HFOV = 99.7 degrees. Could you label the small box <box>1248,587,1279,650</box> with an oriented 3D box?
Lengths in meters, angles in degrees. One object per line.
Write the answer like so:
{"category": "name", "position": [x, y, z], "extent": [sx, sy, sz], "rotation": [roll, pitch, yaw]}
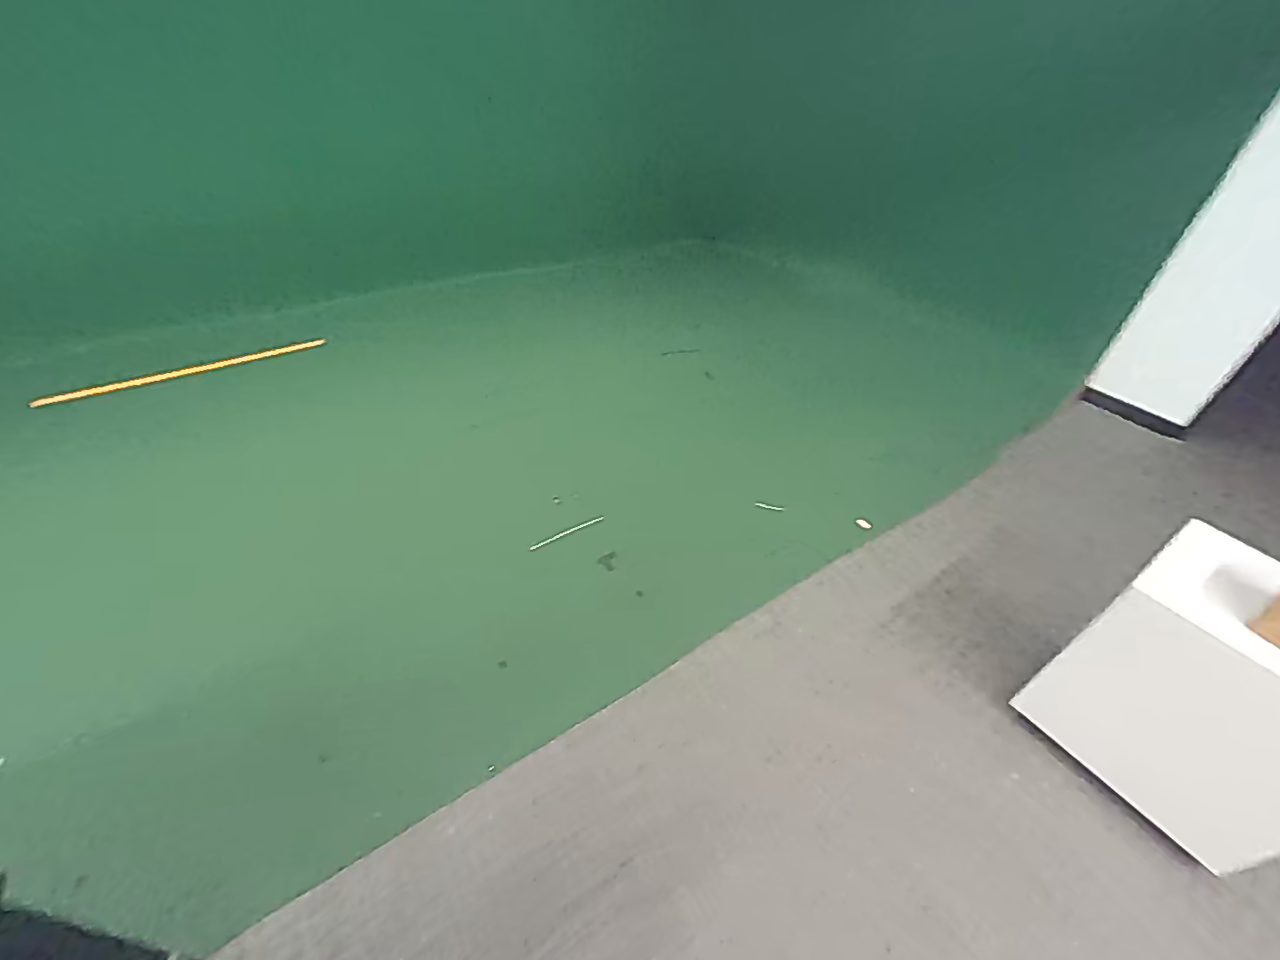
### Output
{"category": "small box", "position": [1.381, 0.268, 1.067], "extent": [0.179, 0.176, 0.168], "rotation": [-20, 46, -26]}
